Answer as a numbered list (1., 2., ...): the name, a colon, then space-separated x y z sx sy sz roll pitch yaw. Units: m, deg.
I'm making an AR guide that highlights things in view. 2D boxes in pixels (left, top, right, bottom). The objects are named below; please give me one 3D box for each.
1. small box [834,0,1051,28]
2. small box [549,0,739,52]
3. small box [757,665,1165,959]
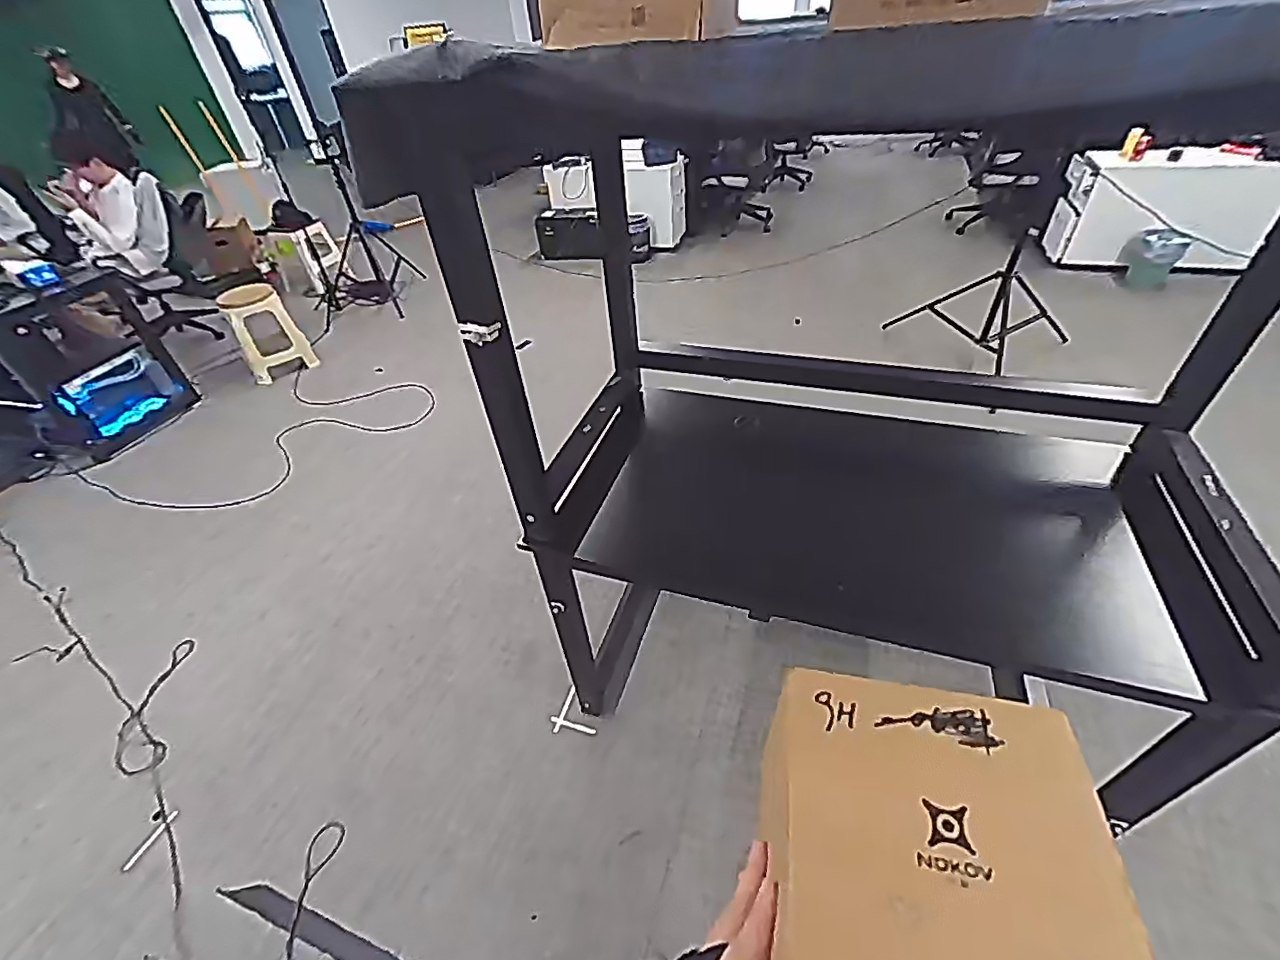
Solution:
1. small box: 0.264 -0.488 0.449 0.168 0.176 0.179 10 41 18
2. small box: 0.007 -0.532 0.531 0.168 0.176 0.179 10 42 16
3. small box: 0.166 0.245 0.333 0.168 0.176 0.179 7 45 10
